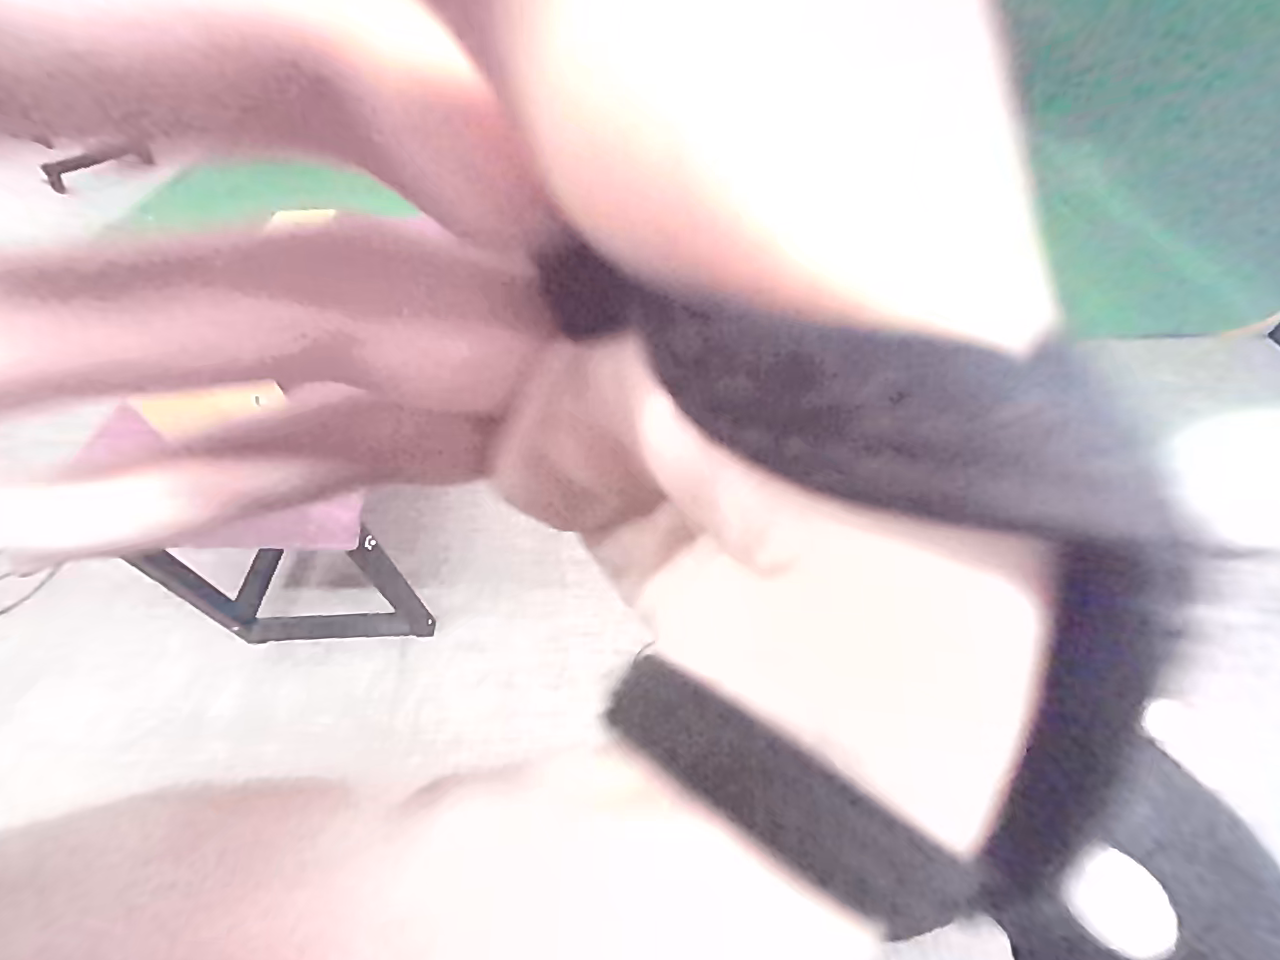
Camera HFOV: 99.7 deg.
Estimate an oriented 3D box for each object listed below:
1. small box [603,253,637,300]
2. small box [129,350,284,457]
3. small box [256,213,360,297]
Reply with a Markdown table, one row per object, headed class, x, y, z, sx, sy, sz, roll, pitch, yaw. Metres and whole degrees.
| class | x | y | z | sx | sy | sz | roll | pitch | yaw |
| --- | --- | --- | --- | --- | --- | --- | --- | --- | --- |
| small box | -0.101 | -1.042 | 2.778 | 0.168 | 0.176 | 0.179 | -2 | 51 | 0 |
| small box | -0.919 | -0.164 | 1.171 | 0.179 | 0.176 | 0.168 | -2 | 51 | -2 |
| small box | -0.938 | -0.642 | 1.551 | 0.179 | 0.176 | 0.168 | -2 | 51 | 0 |
